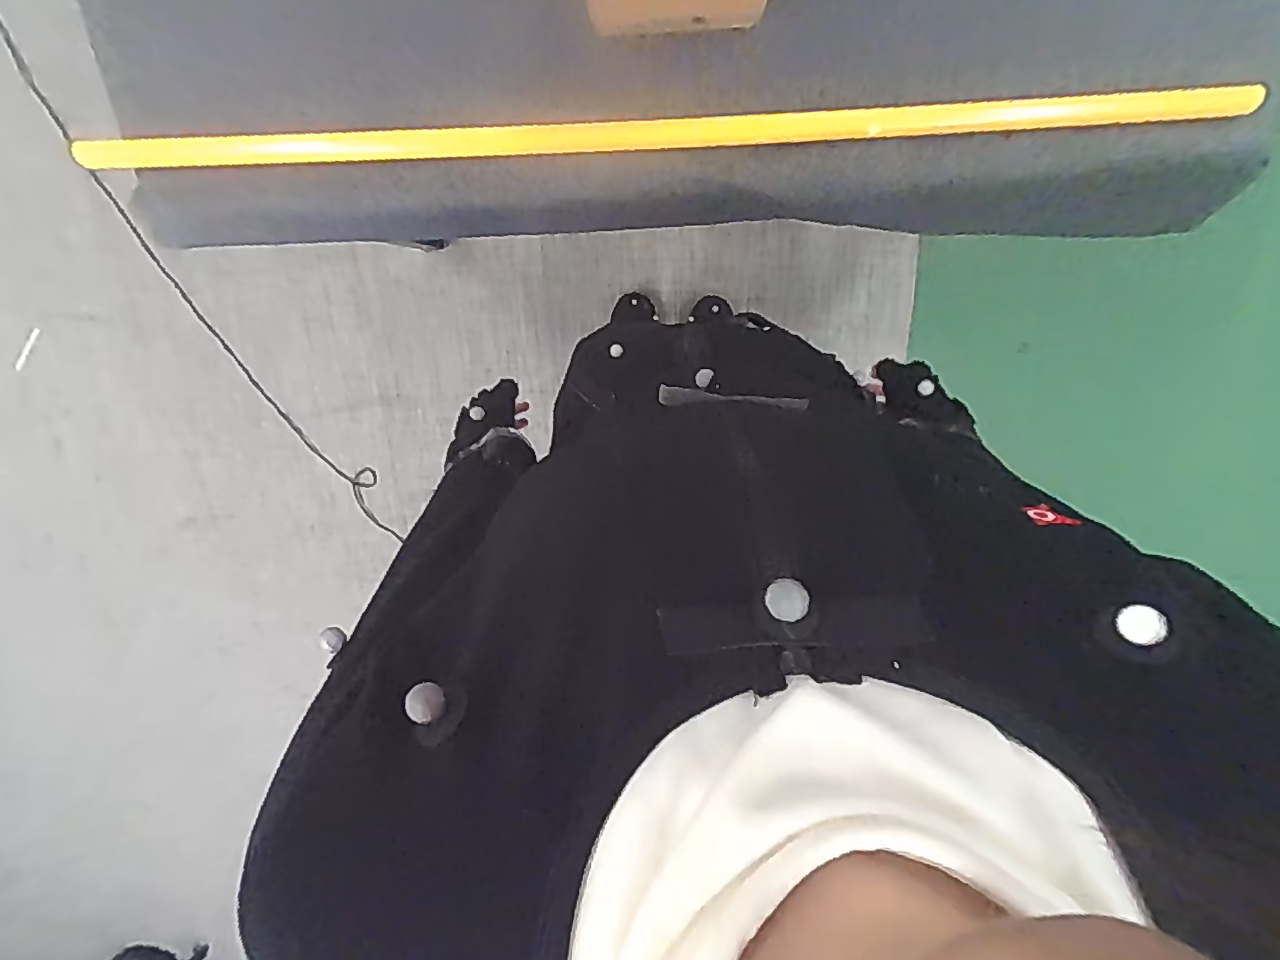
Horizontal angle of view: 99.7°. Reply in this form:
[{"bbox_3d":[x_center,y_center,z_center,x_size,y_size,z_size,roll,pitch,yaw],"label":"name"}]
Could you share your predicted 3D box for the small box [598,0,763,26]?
[{"bbox_3d":[0.034,-0.516,0.439,0.168,0.176,0.179,-2,109,3],"label":"small box"}]
